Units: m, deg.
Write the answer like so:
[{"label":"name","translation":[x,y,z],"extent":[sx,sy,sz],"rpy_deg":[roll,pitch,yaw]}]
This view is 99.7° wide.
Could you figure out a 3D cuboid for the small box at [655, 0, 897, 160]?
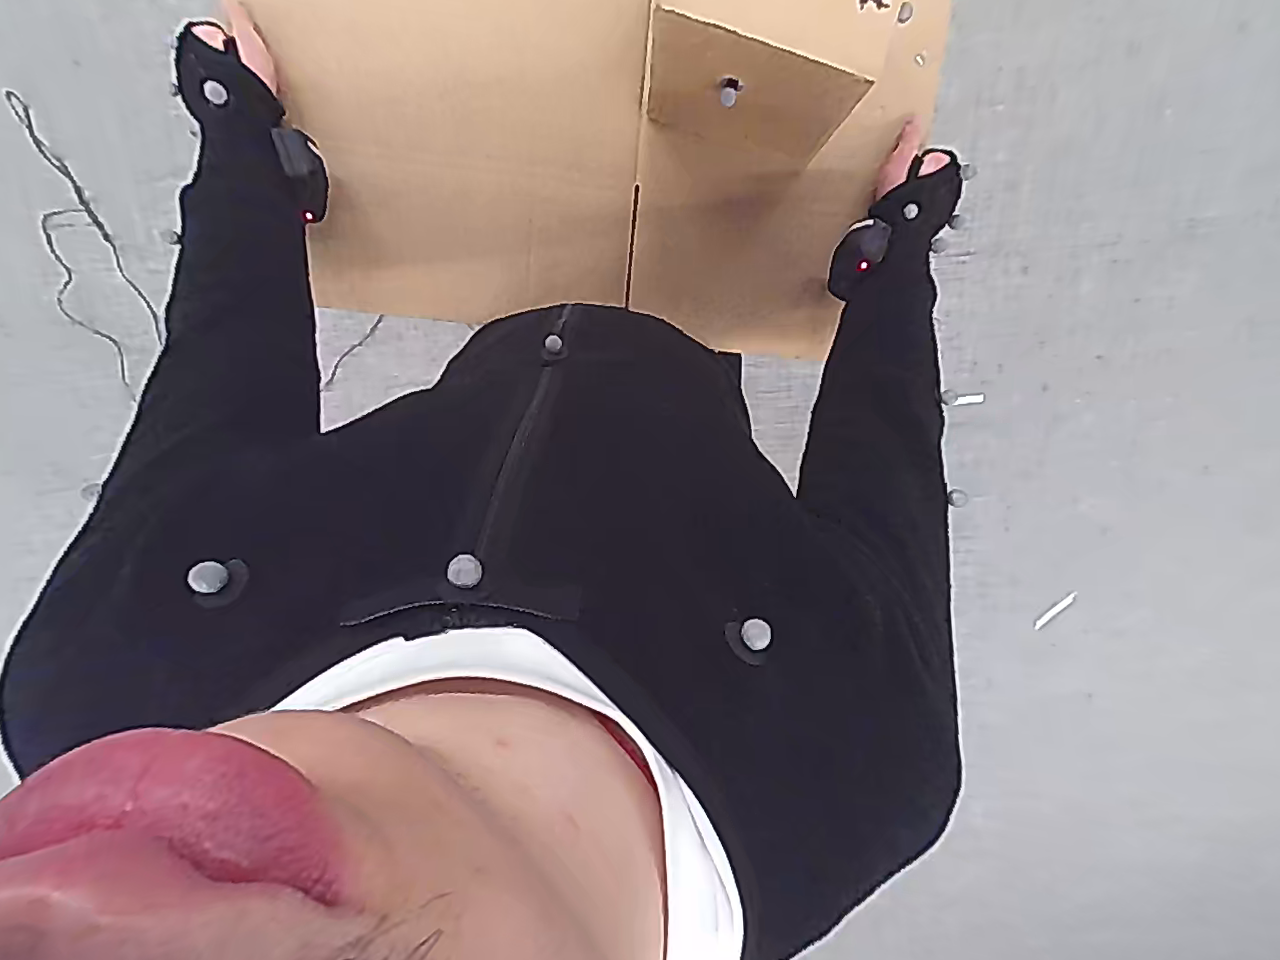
[{"label":"small box","translation":[0.116,-0.416,0.475],"extent":[0.179,0.176,0.168],"rpy_deg":[16,100,-3]}]
